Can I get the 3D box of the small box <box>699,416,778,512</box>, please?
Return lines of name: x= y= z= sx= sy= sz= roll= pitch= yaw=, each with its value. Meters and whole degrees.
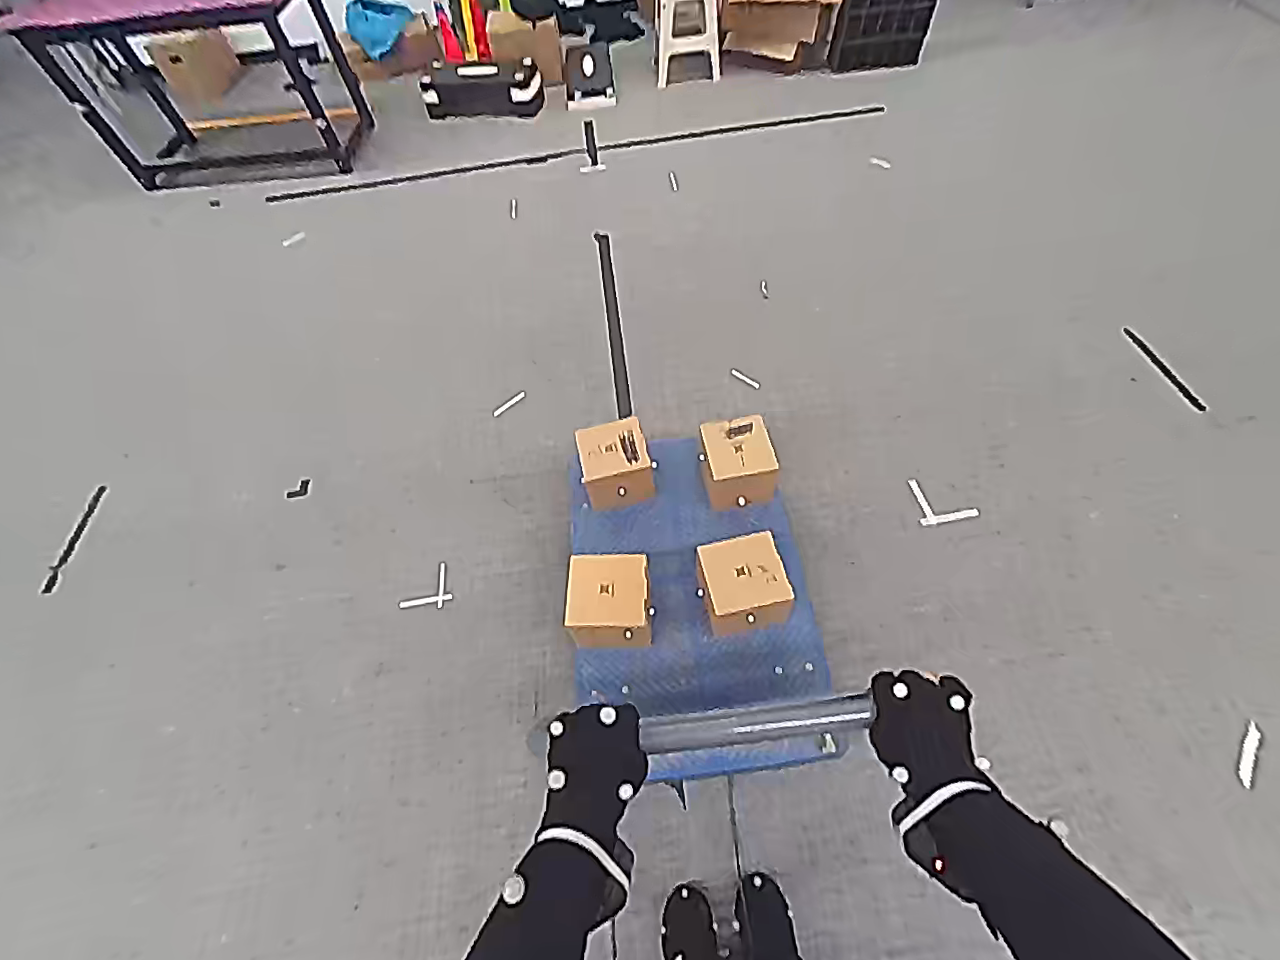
small box: x=0.251 y=-0.039 z=1.426 sx=0.168 sy=0.176 sz=0.179 roll=-10 pitch=58 yaw=-1

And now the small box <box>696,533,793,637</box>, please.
small box: x=0.233 y=0.247 z=1.245 sx=0.179 sy=0.176 sz=0.168 roll=-12 pitch=57 yaw=-2

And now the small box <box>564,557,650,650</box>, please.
small box: x=-0.068 y=0.288 z=1.249 sx=0.179 sy=0.176 sz=0.168 roll=-2 pitch=57 yaw=3
